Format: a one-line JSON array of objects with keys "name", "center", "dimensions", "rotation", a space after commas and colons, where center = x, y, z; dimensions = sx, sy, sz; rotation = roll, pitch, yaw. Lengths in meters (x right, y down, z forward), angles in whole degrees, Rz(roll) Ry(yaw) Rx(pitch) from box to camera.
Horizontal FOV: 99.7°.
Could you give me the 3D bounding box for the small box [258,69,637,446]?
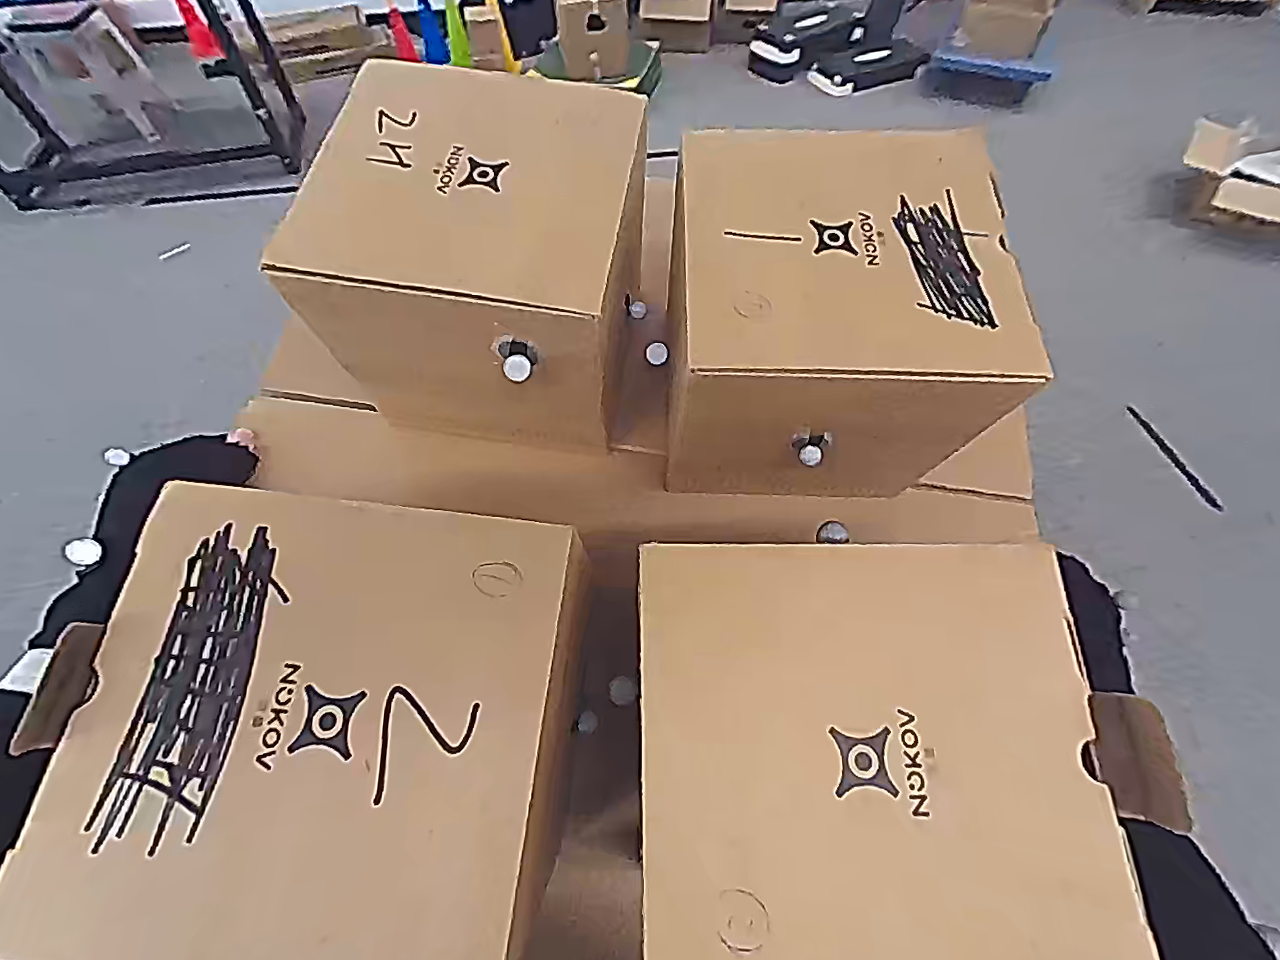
[{"name": "small box", "center": [-0.103, -0.138, 0.380], "dimensions": [0.179, 0.176, 0.168], "rotation": [9, 67, 2]}]
